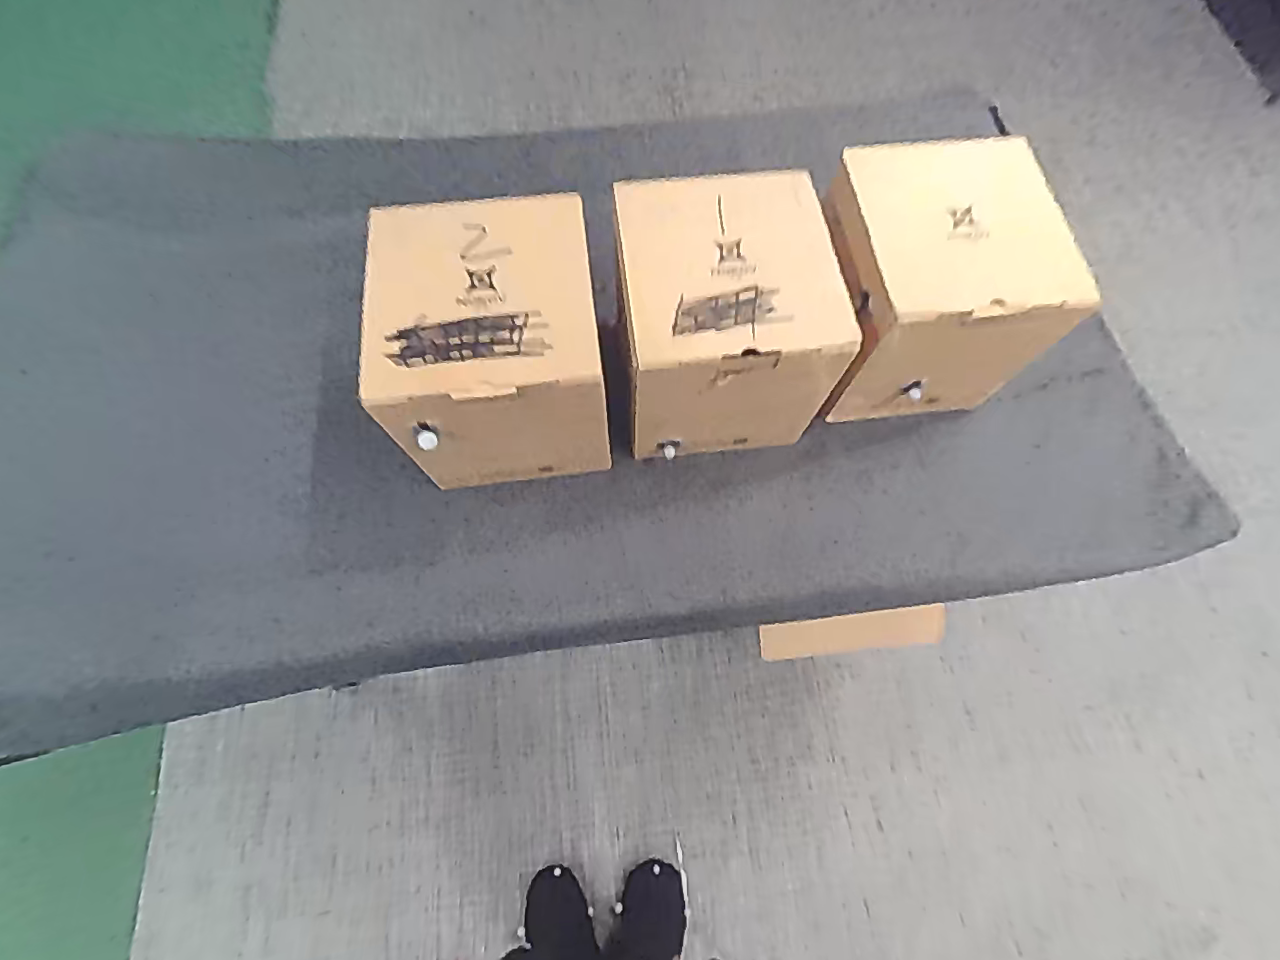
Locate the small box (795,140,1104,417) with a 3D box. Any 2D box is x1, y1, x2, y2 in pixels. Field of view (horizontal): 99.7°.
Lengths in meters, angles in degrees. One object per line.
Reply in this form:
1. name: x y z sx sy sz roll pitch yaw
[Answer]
1. small box: 0.261 -0.179 0.509 0.168 0.176 0.179 -6 70 -3
